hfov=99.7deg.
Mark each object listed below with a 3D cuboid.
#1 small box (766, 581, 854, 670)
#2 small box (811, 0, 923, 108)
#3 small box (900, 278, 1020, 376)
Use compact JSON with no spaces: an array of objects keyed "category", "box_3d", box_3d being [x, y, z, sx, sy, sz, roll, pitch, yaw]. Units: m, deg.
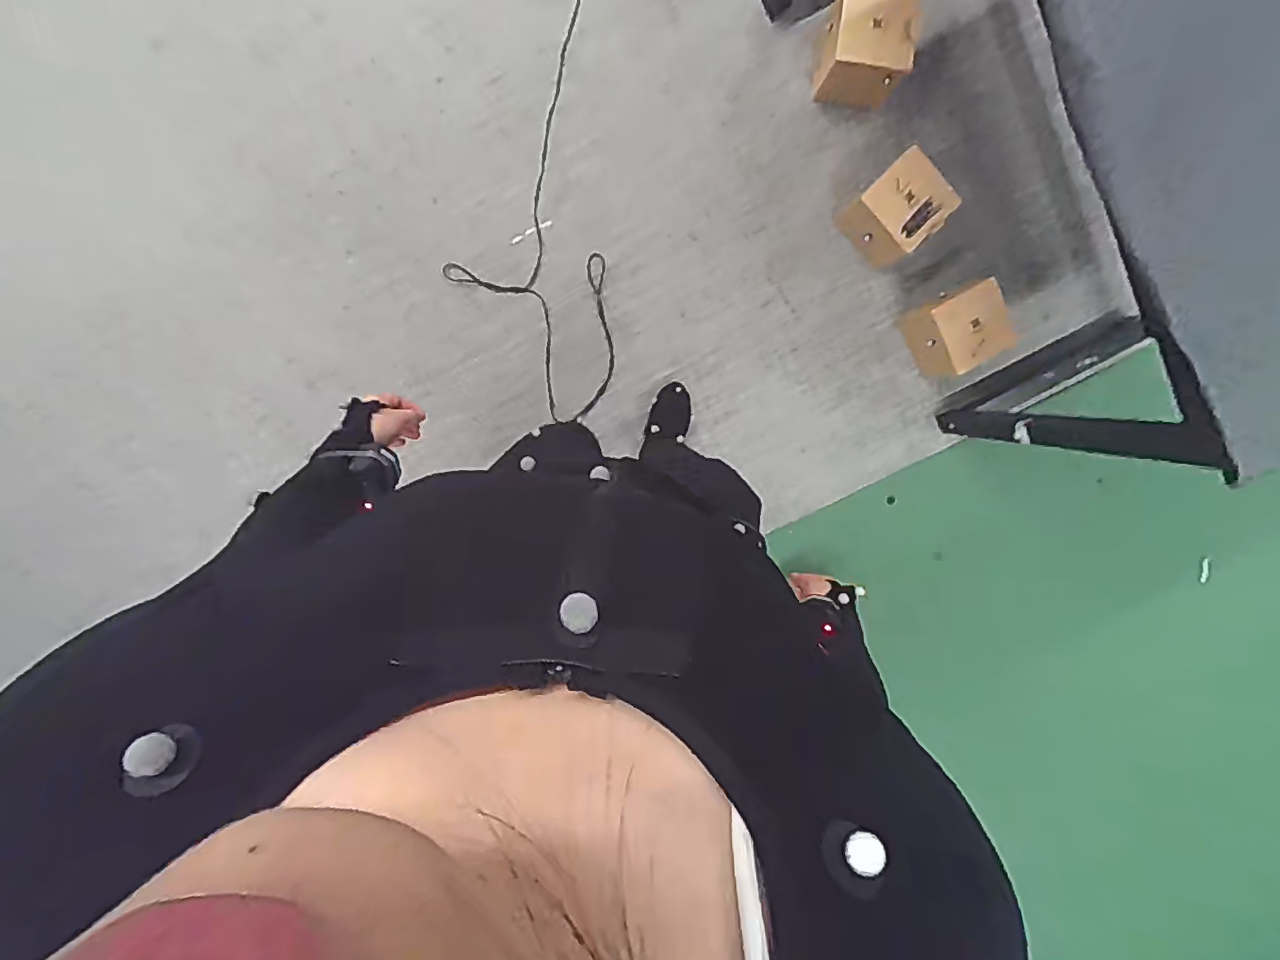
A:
[{"category":"small box","box_3d":[0.450,0.386,1.463,0.168,0.176,0.179,7,99,-4]},{"category":"small box","box_3d":[0.511,-0.990,1.240,0.179,0.176,0.168,5,99,-3]},{"category":"small box","box_3d":[0.786,-0.371,1.347,0.168,0.176,0.179,-28,100,4]}]
